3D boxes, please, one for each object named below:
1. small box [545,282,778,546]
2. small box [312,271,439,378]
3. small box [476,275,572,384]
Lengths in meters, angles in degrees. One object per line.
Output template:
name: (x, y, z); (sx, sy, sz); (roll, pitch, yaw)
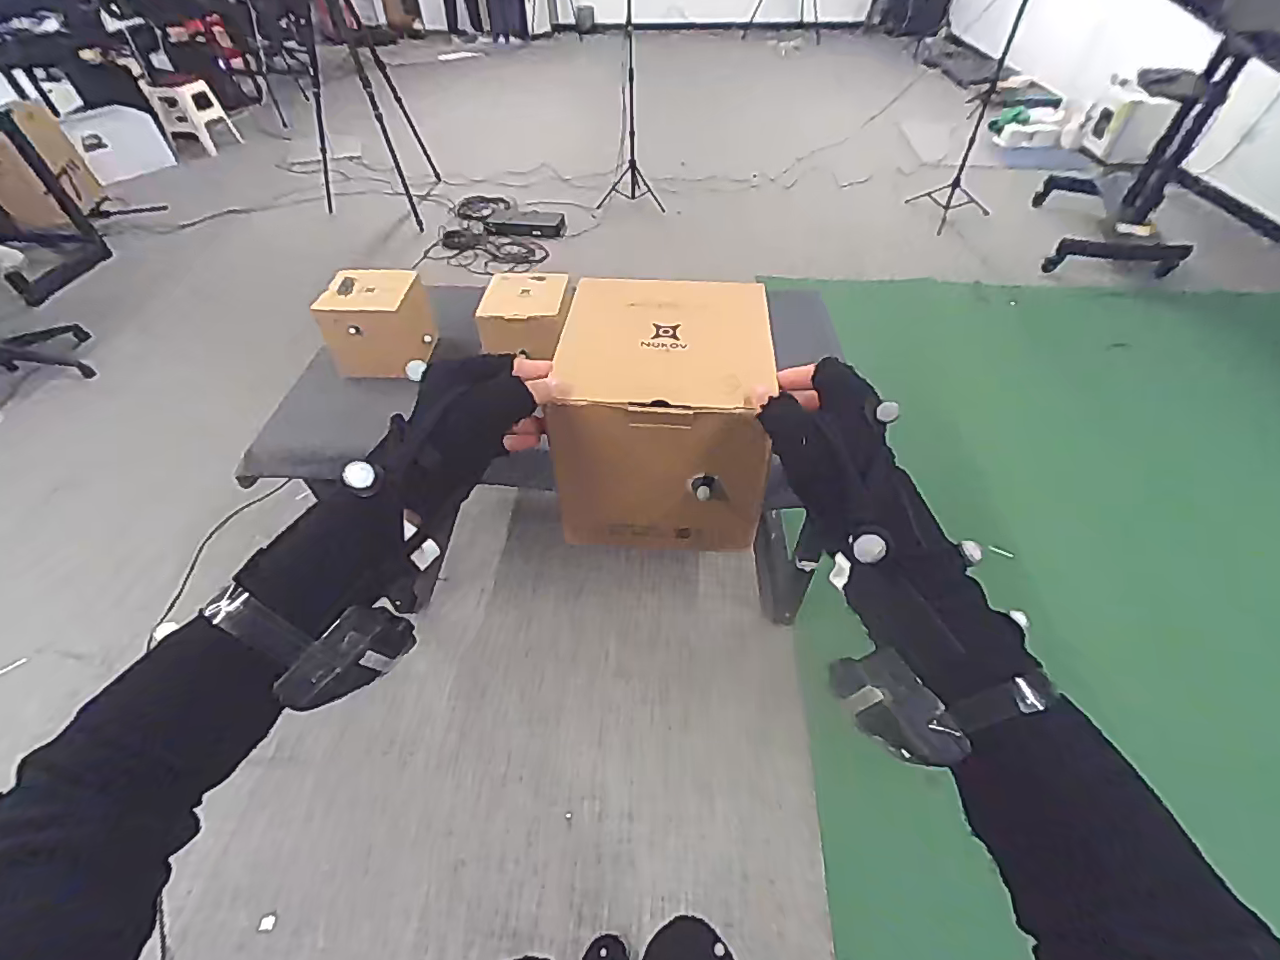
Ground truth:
small box: (0.022, -0.058, 0.485); (0.168, 0.176, 0.179); (3, 46, 3)
small box: (-0.565, -0.339, 1.184); (0.179, 0.176, 0.168); (1, 48, 0)
small box: (-0.234, -0.324, 1.168); (0.168, 0.176, 0.179); (2, 48, 2)
